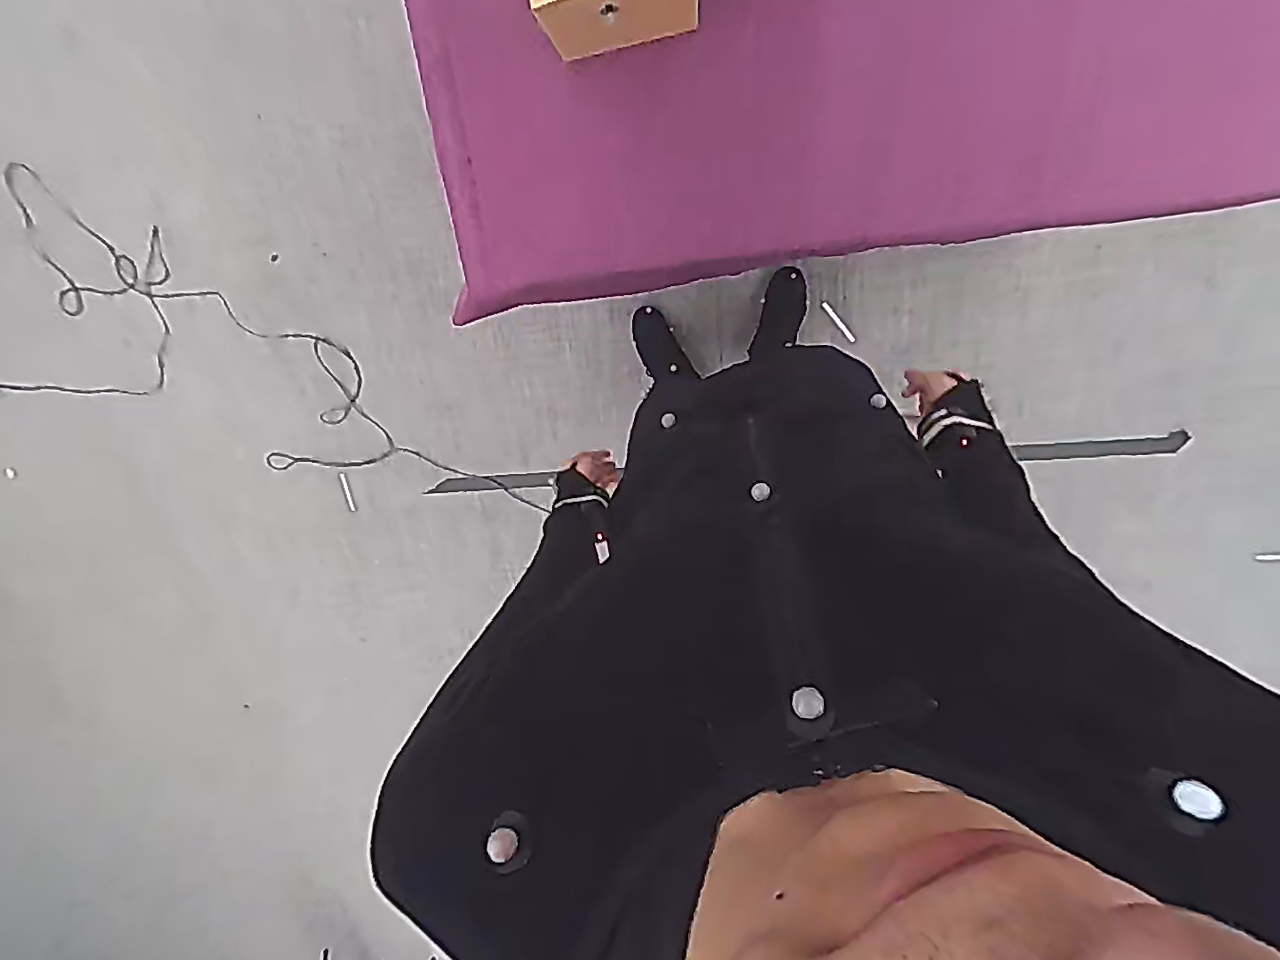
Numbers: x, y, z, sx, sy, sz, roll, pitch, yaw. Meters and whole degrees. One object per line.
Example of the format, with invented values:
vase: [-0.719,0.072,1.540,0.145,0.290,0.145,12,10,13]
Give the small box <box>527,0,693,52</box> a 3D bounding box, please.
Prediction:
small box: [-0.037,-0.596,0.579,0.179,0.176,0.168,-7,112,7]
